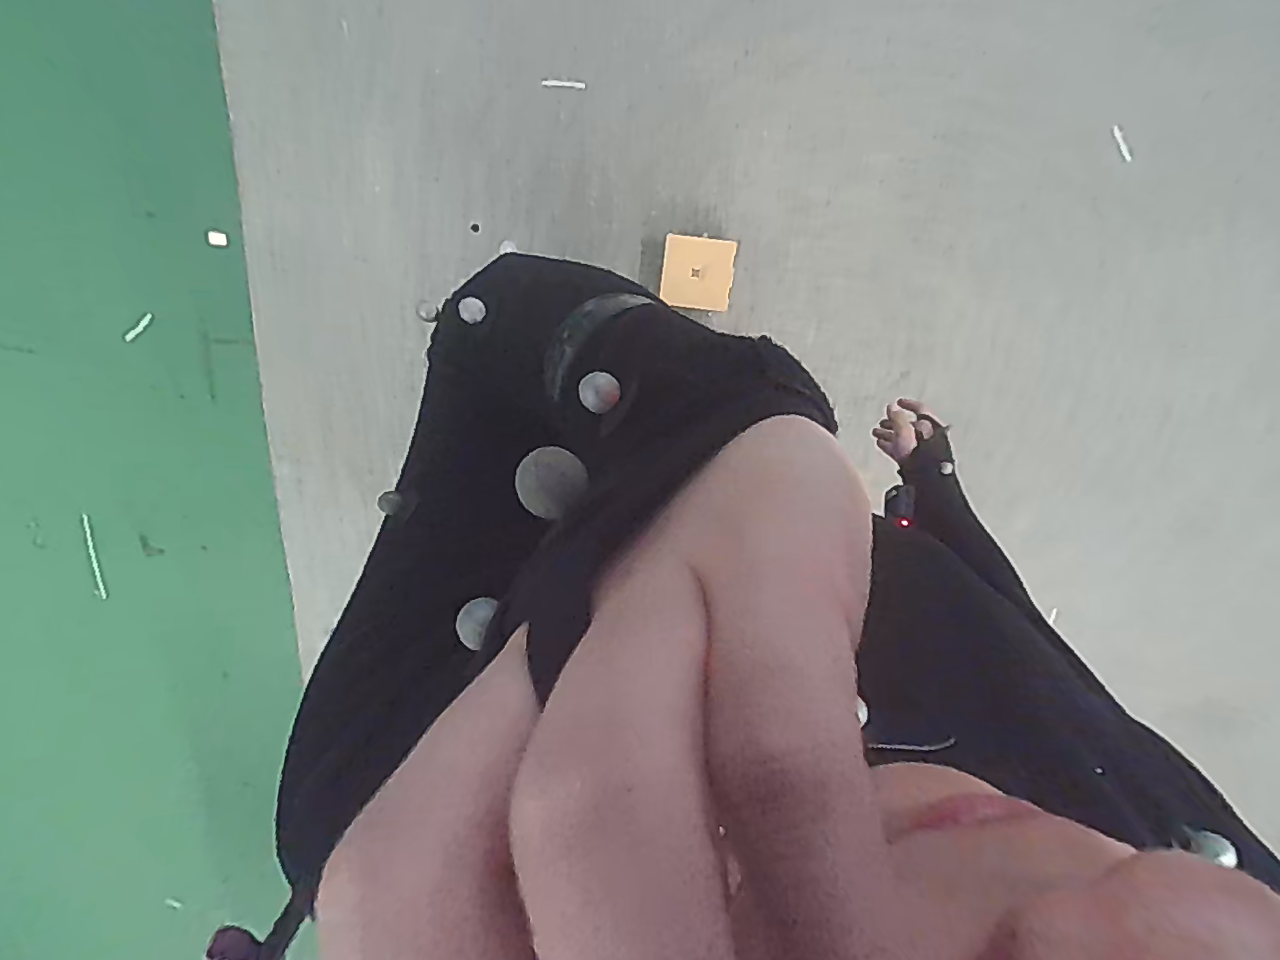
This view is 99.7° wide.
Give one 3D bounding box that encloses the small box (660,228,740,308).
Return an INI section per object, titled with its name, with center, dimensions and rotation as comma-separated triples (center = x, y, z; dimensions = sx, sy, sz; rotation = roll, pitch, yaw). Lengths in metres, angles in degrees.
[small box]
center = 0.148, -0.537, 1.389
dimensions = 0.179, 0.176, 0.168
rotation = 6, 107, -1
